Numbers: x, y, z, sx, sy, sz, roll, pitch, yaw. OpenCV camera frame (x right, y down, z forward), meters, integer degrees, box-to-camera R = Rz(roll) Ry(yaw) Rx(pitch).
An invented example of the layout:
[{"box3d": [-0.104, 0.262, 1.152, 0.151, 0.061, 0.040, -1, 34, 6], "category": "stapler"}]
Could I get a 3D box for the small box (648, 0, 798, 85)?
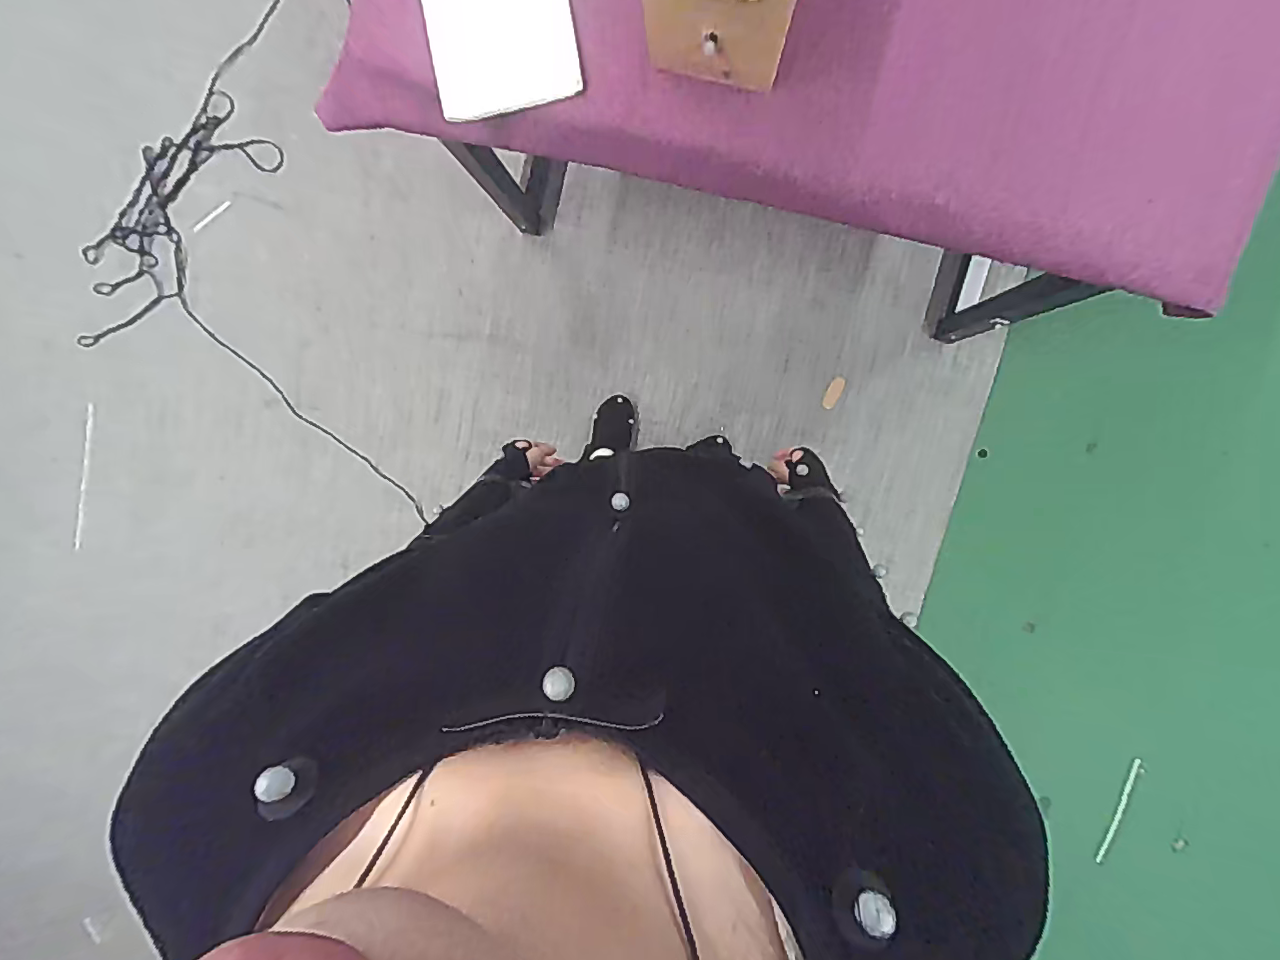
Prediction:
[{"box3d": [0.110, -0.610, 0.629, 0.168, 0.176, 0.179, 16, 97, 3], "category": "small box"}]
